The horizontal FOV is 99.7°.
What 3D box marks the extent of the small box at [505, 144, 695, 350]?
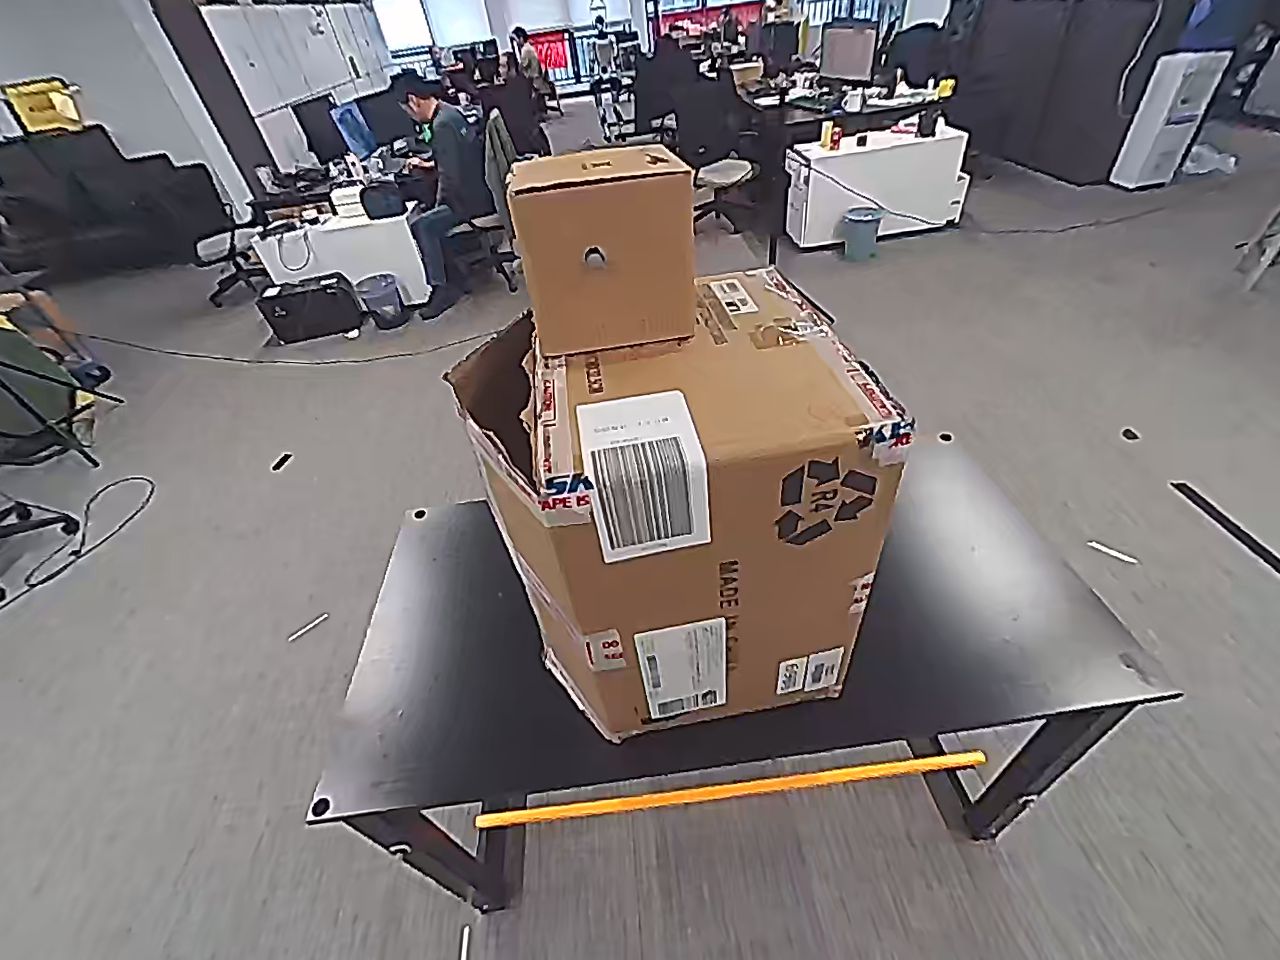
[{"bbox_3d":[-0.041,-0.261,0.610,0.179,0.176,0.168,-10,40,-3],"label":"small box"}]
